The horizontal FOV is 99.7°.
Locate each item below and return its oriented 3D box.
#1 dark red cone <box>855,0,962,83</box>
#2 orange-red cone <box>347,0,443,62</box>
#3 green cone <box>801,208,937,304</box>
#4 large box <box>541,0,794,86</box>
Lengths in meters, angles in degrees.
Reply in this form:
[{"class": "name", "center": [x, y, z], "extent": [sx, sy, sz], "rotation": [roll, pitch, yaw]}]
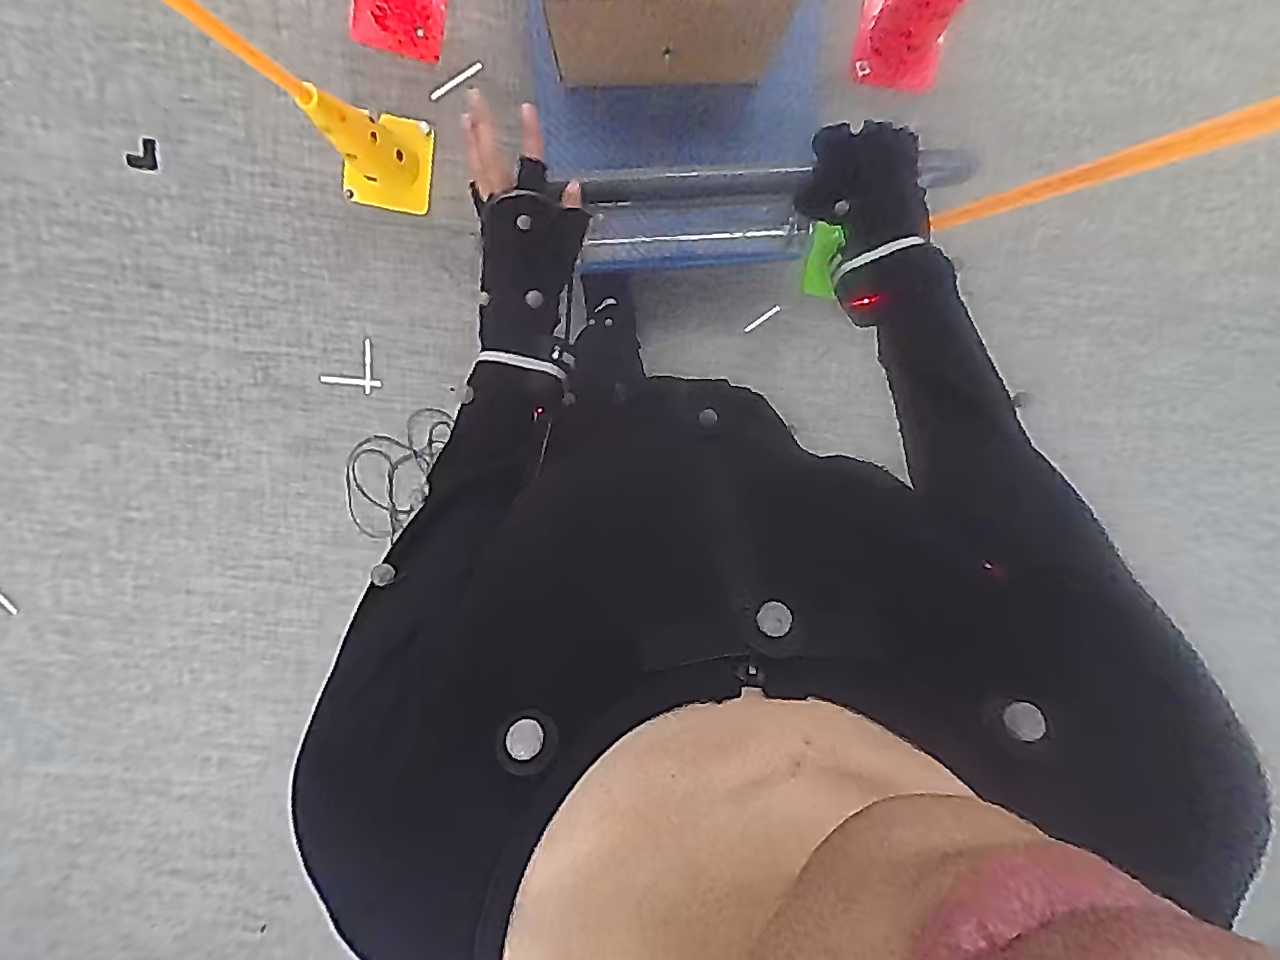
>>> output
[{"class": "dark red cone", "center": [0.603, -0.980, 1.059], "extent": [0.201, 0.394, 0.202], "rotation": [6, 104, -5]}, {"class": "orange-red cone", "center": [-0.530, -1.022, 1.030], "extent": [0.198, 0.360, 0.199], "rotation": [13, 101, -6]}, {"class": "green cone", "center": [0.524, -0.518, 1.187], "extent": [0.202, 0.368, 0.200], "rotation": [10, 103, -6]}, {"class": "large box", "center": [0.038, -0.920, 0.925], "extent": [0.408, 0.320, 0.320], "rotation": [-2, 104, 0]}]
